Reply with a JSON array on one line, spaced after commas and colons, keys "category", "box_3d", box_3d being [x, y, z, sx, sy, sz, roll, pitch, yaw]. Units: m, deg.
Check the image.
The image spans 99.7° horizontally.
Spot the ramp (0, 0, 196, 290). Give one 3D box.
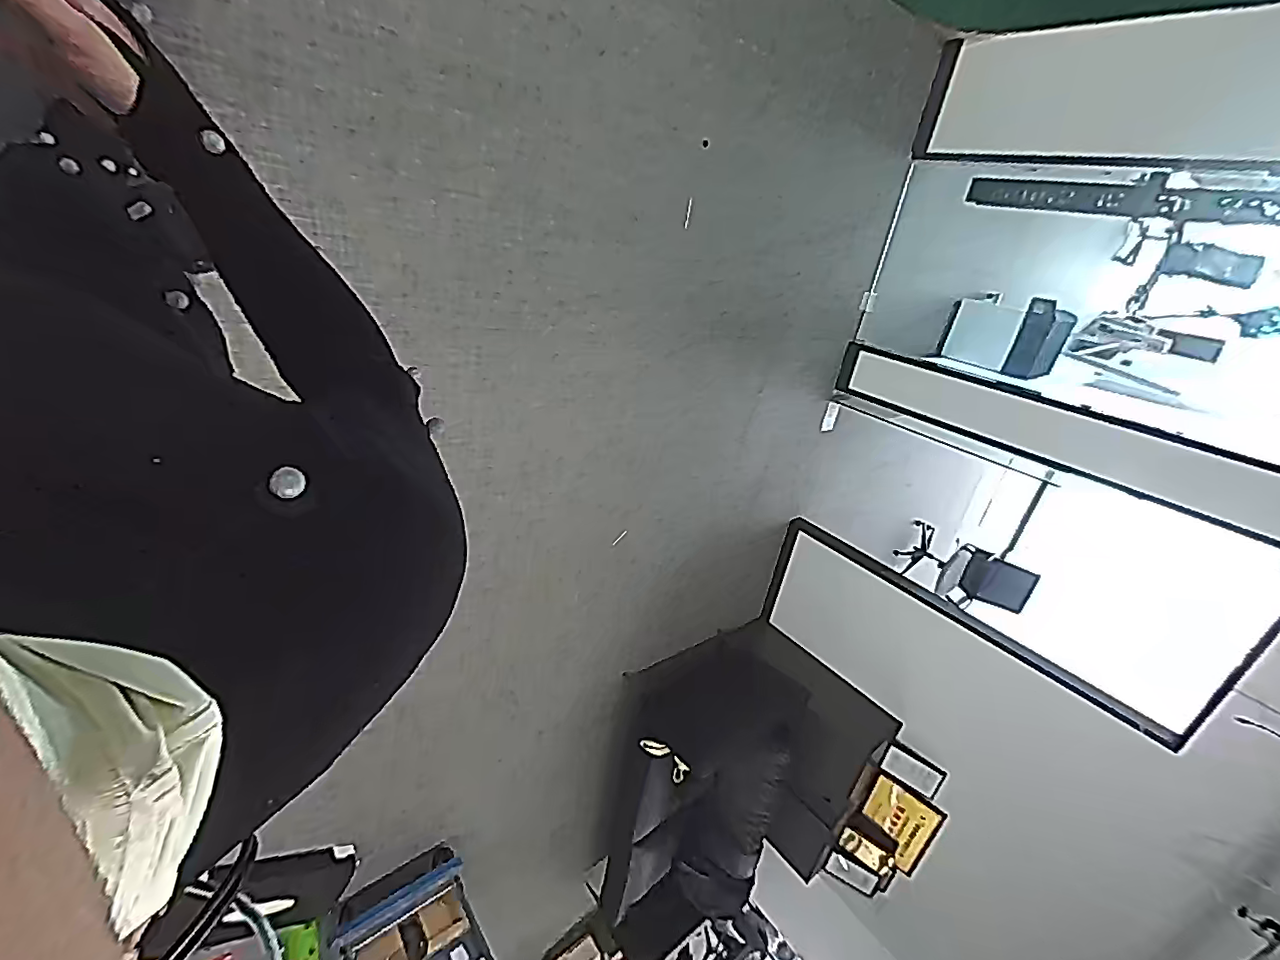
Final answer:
[{"category": "ramp", "box_3d": [-1.069, -0.792, 0.822, 0.509, 0.206, 0.991, -15, 125, -38]}]
